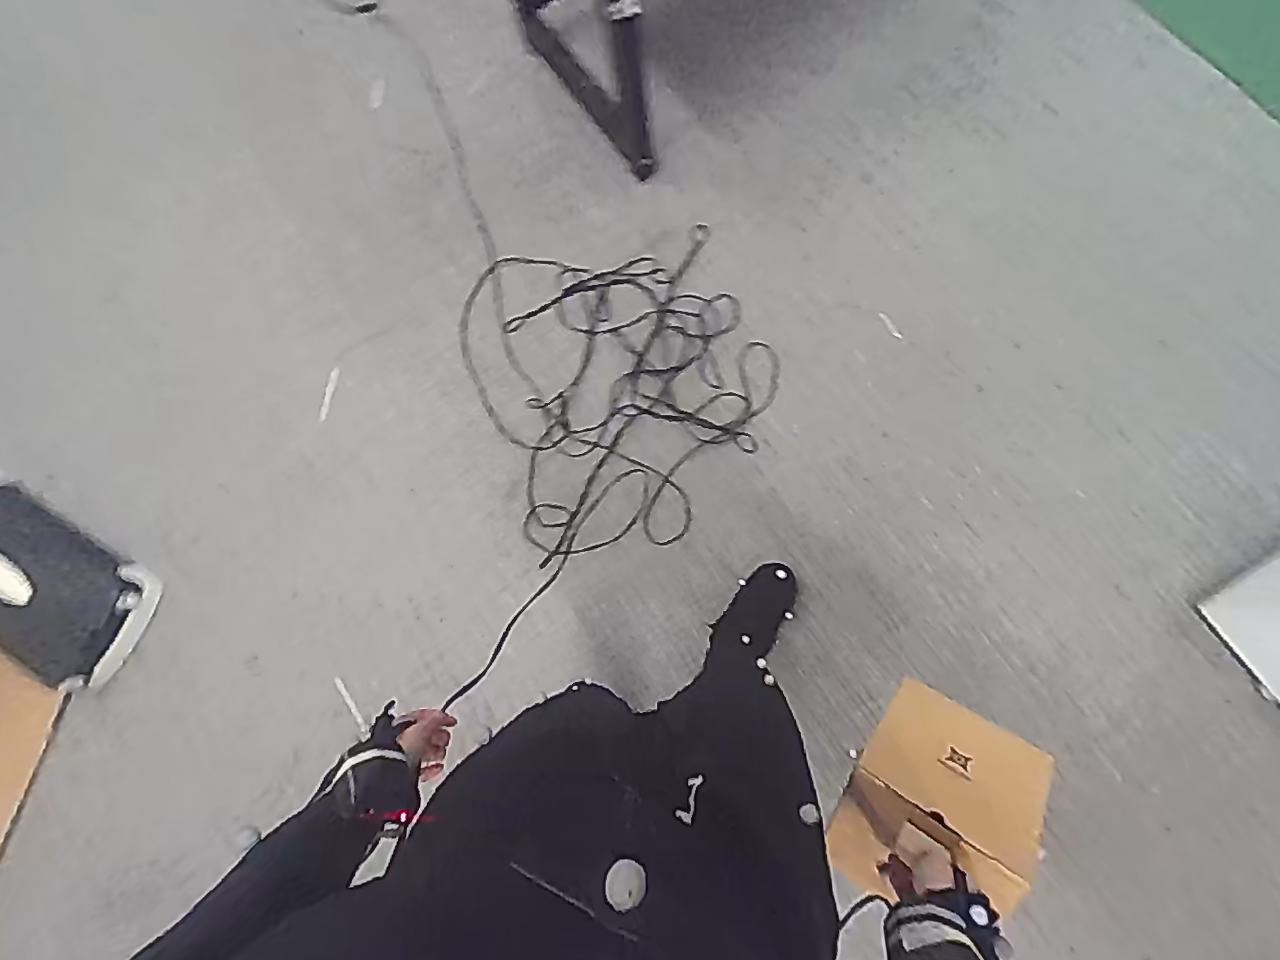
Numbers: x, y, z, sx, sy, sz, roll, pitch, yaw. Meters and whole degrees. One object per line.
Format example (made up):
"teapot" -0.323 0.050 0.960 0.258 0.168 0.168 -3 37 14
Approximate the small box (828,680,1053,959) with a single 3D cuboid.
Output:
"small box" 0.339 0.380 0.626 0.168 0.179 0.176 25 124 32
